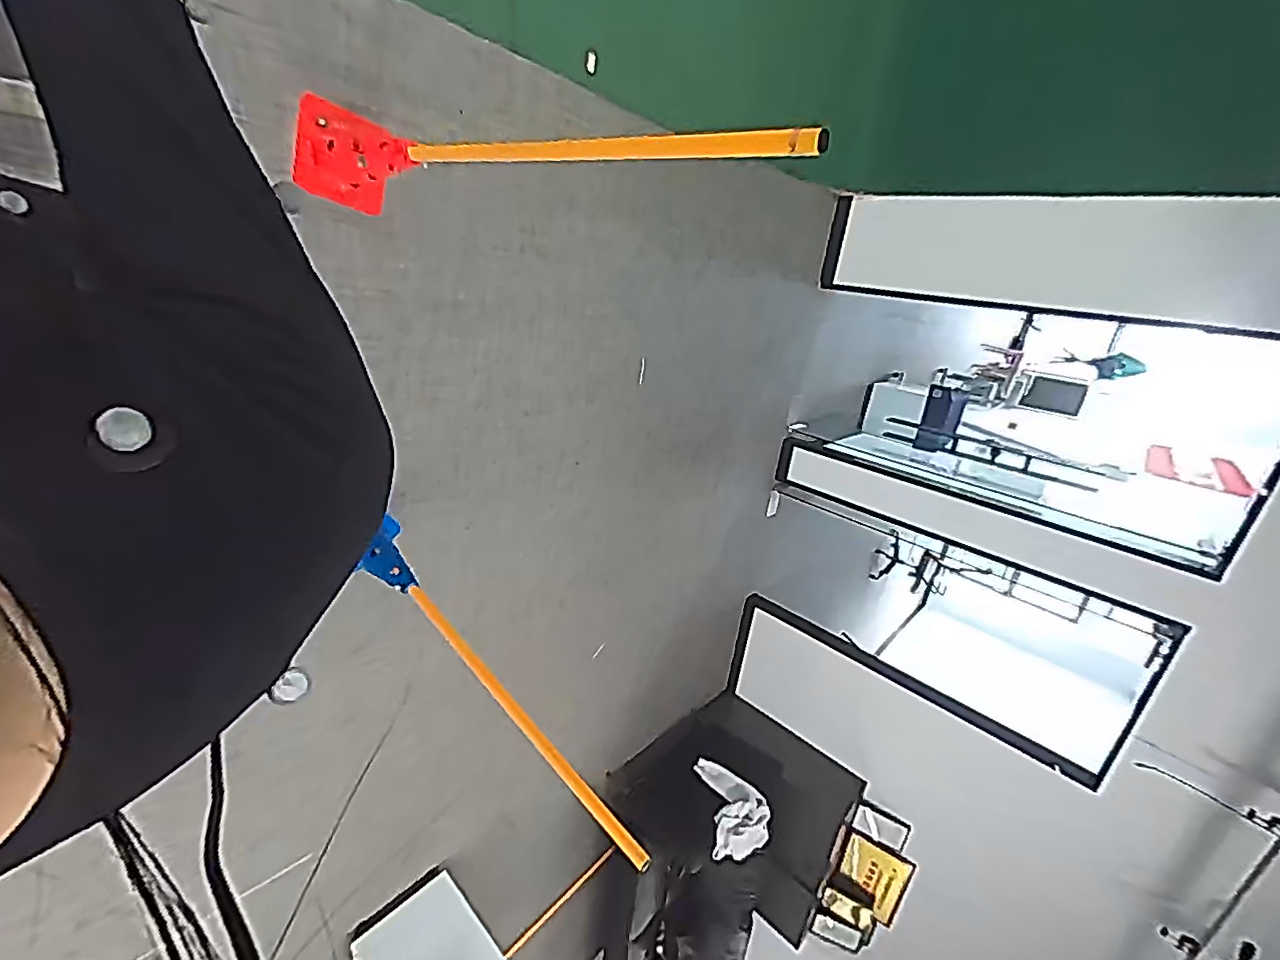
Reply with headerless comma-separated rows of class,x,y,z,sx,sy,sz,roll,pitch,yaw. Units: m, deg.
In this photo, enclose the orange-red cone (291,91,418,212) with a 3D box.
orange-red cone,-0.570,-0.697,1.154,0.198,0.360,0.199,2,109,-50
